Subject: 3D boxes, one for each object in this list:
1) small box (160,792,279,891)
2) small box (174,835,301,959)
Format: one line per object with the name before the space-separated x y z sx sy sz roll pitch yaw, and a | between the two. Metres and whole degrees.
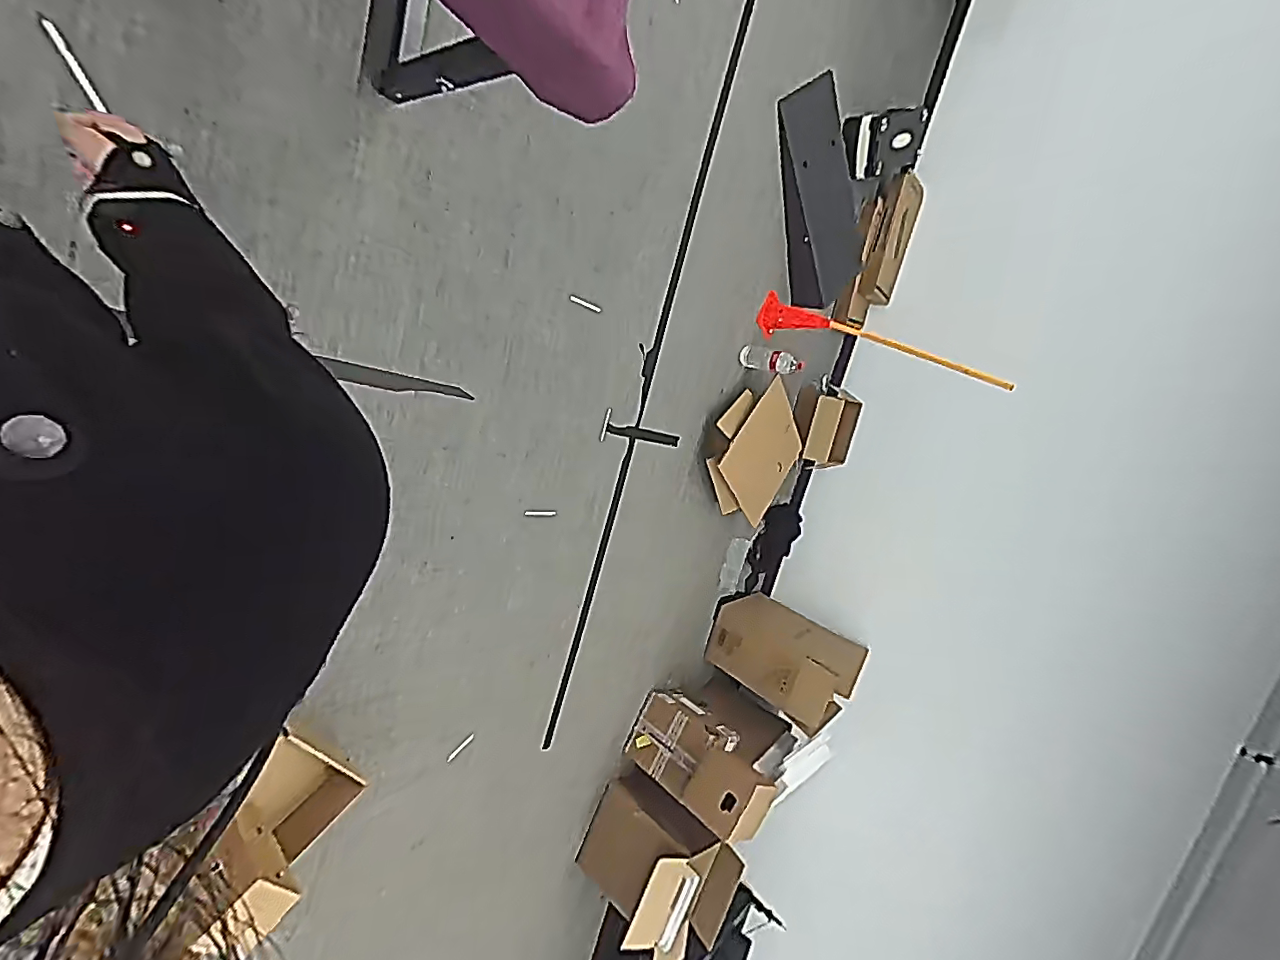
small box | -1.116 0.974 1.436 0.168 0.176 0.179 -43 137 -30
small box | -0.996 1.027 1.340 0.168 0.176 0.179 -44 137 -29
